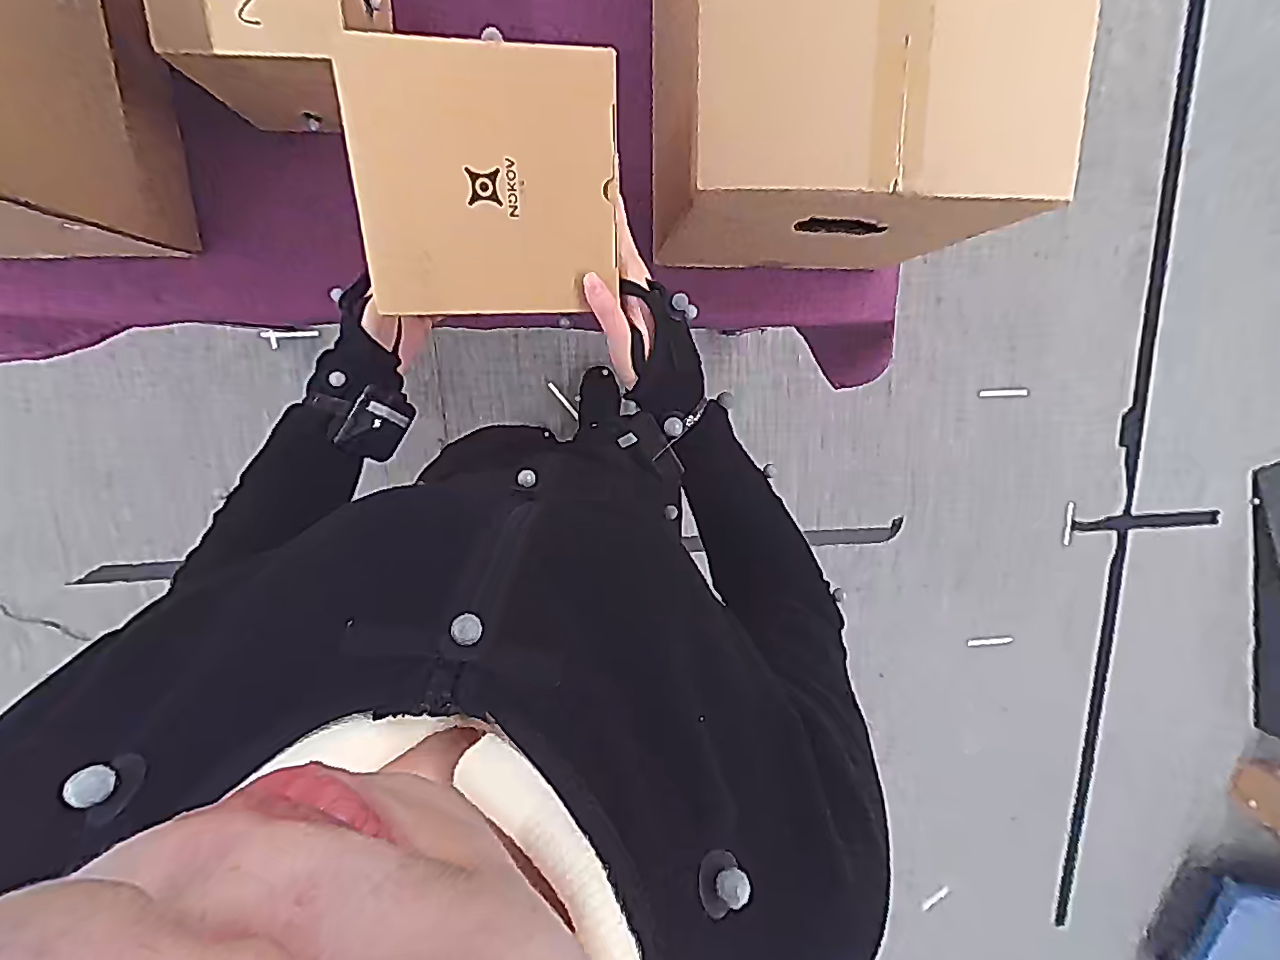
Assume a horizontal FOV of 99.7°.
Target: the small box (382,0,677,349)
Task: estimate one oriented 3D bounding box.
[{"bbox_3d":[-0.089,-0.210,0.409,0.168,0.176,0.179,-12,95,-27],"label":"small box"}]
